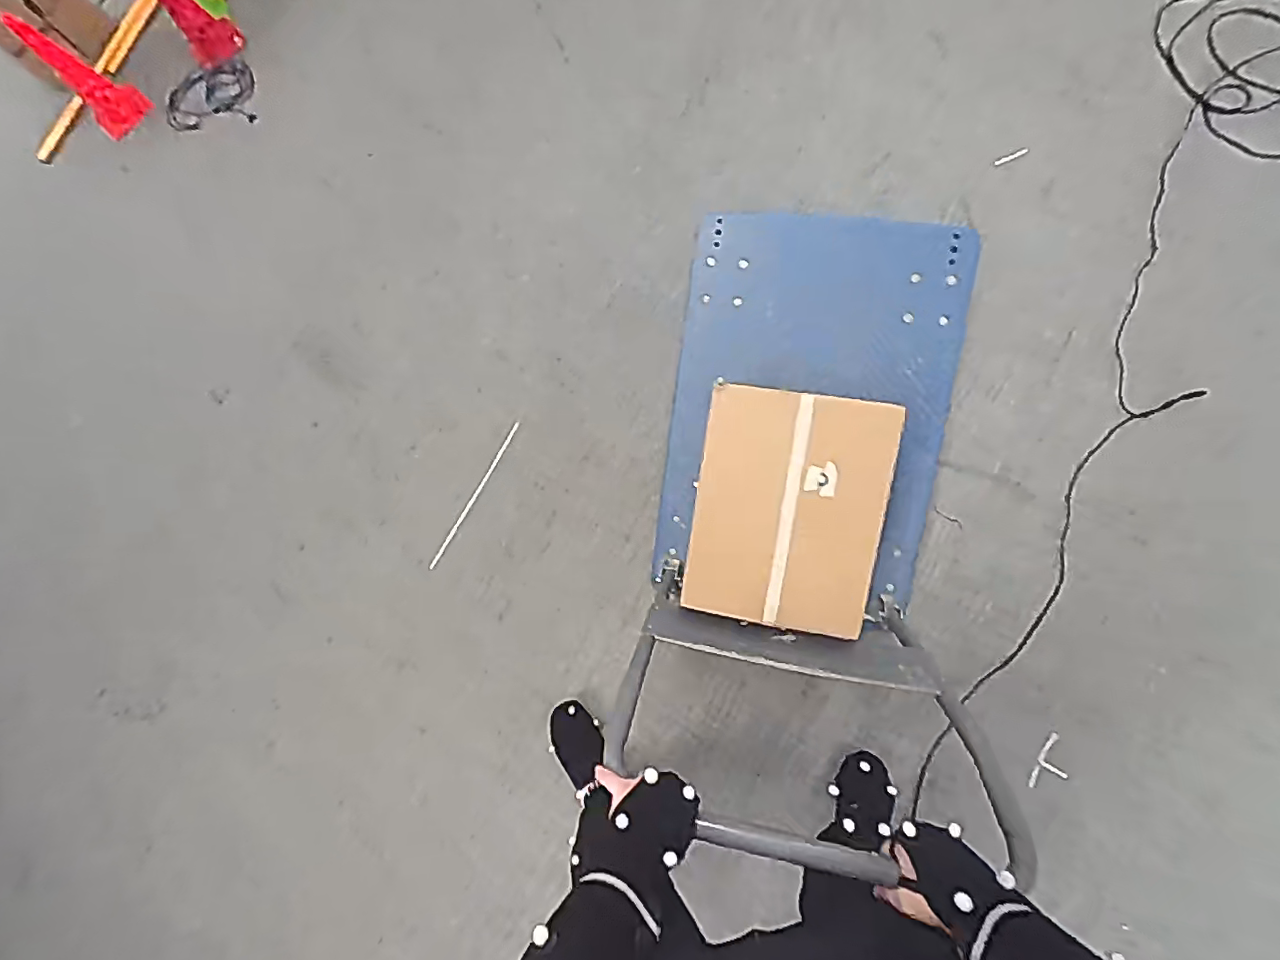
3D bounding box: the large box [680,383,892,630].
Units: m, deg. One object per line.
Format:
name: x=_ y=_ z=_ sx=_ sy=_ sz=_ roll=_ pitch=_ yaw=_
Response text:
large box: x=0.275 y=0.035 z=1.093 sx=0.320 sy=0.320 sz=0.408 roll=10 pitch=97 yaw=9
